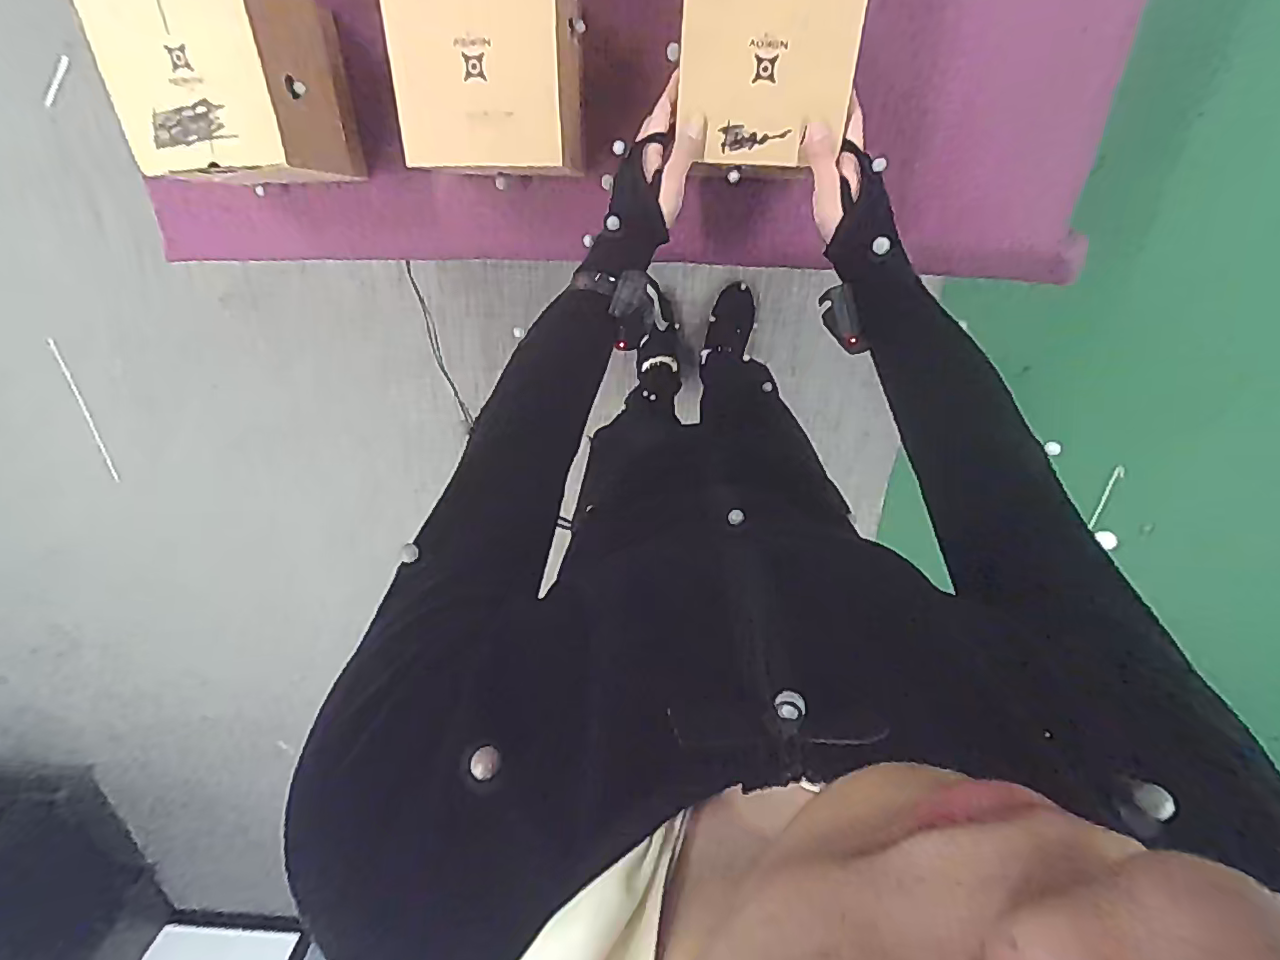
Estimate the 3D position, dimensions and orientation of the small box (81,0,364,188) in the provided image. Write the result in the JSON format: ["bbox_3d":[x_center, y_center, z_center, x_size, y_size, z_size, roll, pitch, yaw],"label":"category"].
[{"bbox_3d":[-0.446,-0.434,0.613,0.168,0.176,0.179,-1,114,4],"label":"small box"}]

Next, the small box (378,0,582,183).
[{"bbox_3d":[-0.160,-0.434,0.597,0.168,0.176,0.179,3,117,4],"label":"small box"}]
